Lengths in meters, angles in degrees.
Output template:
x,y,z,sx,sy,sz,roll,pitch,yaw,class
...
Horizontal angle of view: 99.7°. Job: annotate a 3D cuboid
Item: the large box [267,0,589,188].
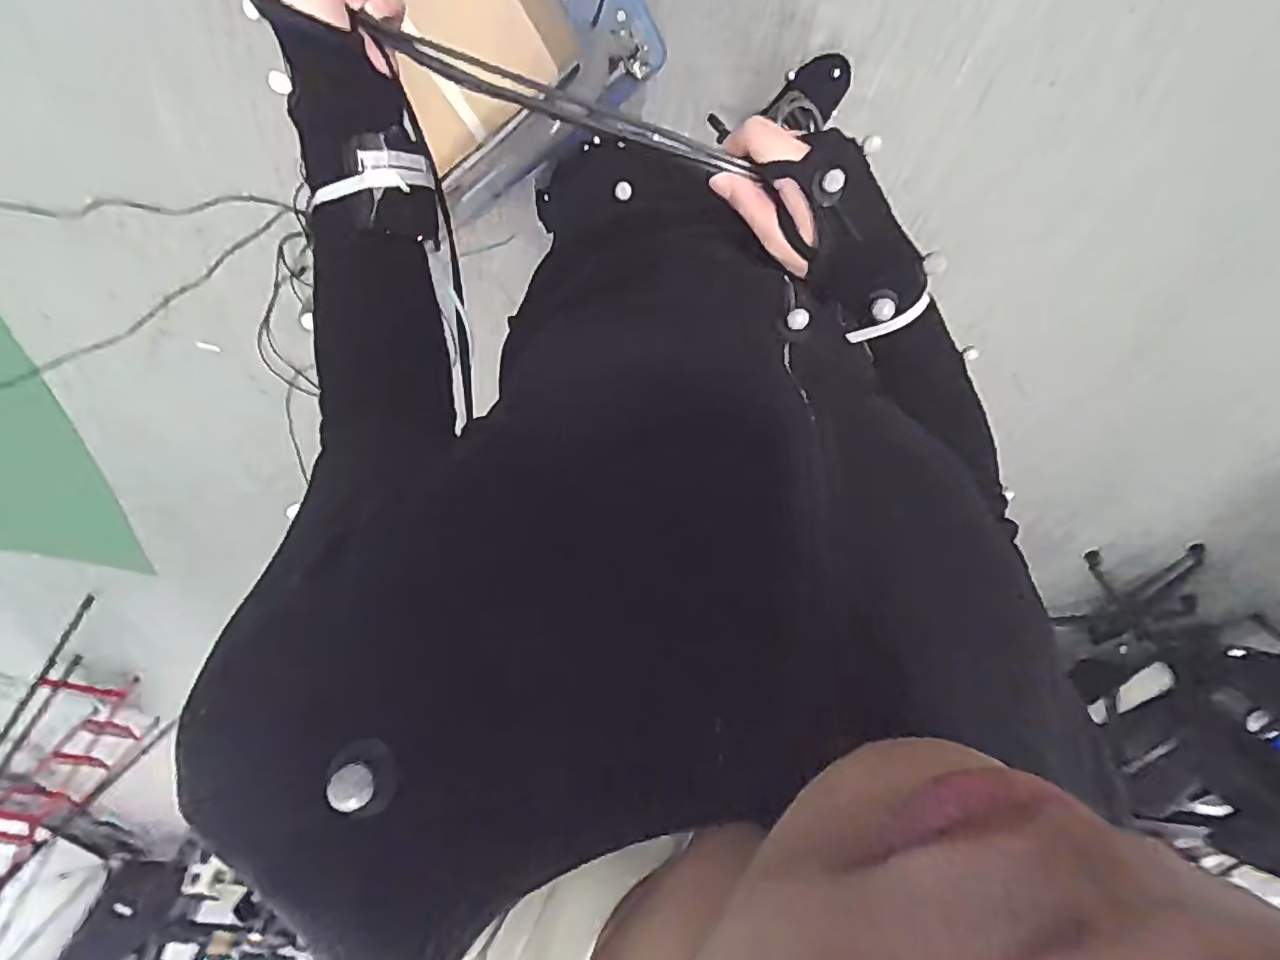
x,y,z,sx,sy,sz,roll,pitch,yaw,class
-0.333,-0.768,0.851,0.320,0.320,0.408,-24,126,23,large box
